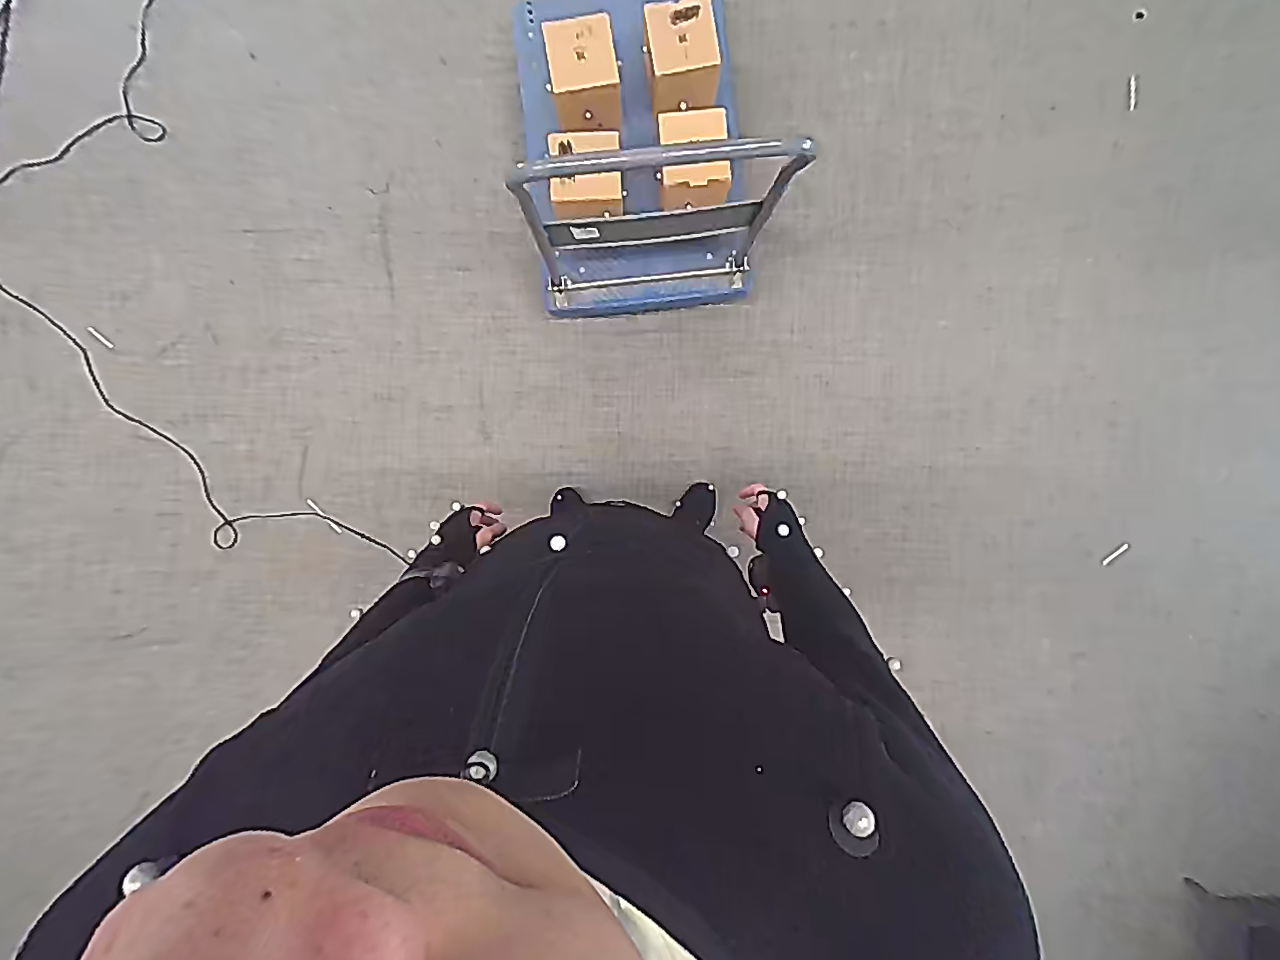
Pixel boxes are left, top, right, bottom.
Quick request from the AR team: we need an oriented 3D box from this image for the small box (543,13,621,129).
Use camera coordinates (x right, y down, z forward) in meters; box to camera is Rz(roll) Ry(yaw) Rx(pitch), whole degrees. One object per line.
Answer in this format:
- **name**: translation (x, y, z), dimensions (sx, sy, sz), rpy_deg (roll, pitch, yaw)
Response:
- **small box**: translation (-0.144, -1.045, 1.402), dimensions (0.168, 0.176, 0.179), rpy_deg (-10, 90, -1)

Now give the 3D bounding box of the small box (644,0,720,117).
- **small box**: translation (0.103, -1.090, 1.401), dimensions (0.168, 0.176, 0.179), rpy_deg (-10, 91, 1)

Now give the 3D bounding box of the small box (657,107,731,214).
- **small box**: translation (0.134, -0.821, 1.403), dimensions (0.168, 0.176, 0.179), rpy_deg (-5, 91, 0)
